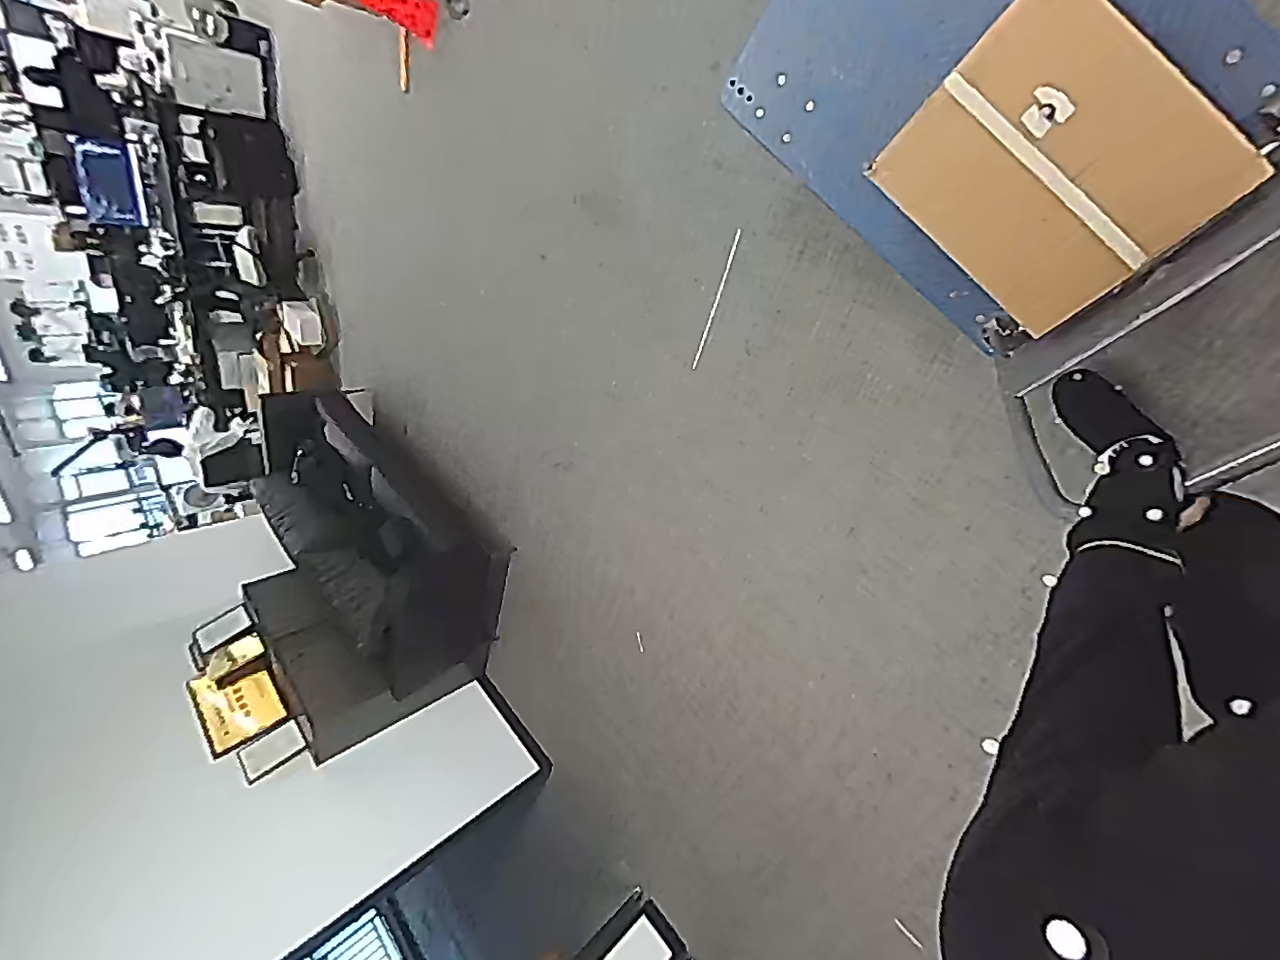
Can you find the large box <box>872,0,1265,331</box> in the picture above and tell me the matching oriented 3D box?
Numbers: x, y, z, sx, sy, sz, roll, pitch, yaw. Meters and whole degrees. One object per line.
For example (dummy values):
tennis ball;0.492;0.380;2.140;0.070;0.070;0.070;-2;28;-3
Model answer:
large box;0.684;-0.538;0.927;0.408;0.320;0.320;43;132;-1
